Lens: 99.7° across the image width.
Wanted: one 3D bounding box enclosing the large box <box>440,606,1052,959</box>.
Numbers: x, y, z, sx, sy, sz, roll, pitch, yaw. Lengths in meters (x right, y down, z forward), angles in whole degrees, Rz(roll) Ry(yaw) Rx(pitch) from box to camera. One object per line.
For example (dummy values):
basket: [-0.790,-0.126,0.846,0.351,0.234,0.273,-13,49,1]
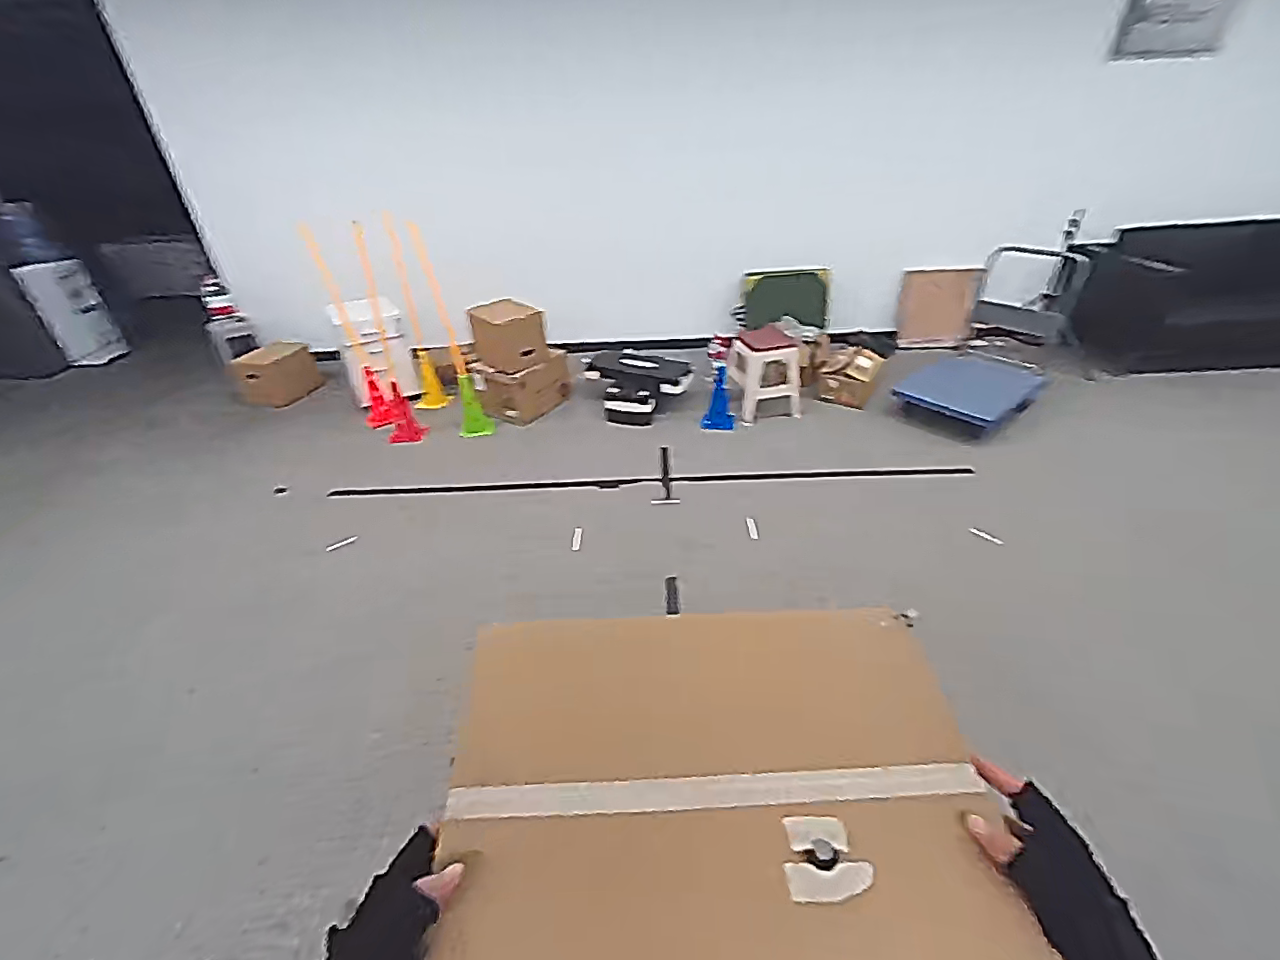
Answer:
large box: [0.061,0.348,0.530,0.408,0.320,0.320,-2,43,-2]
